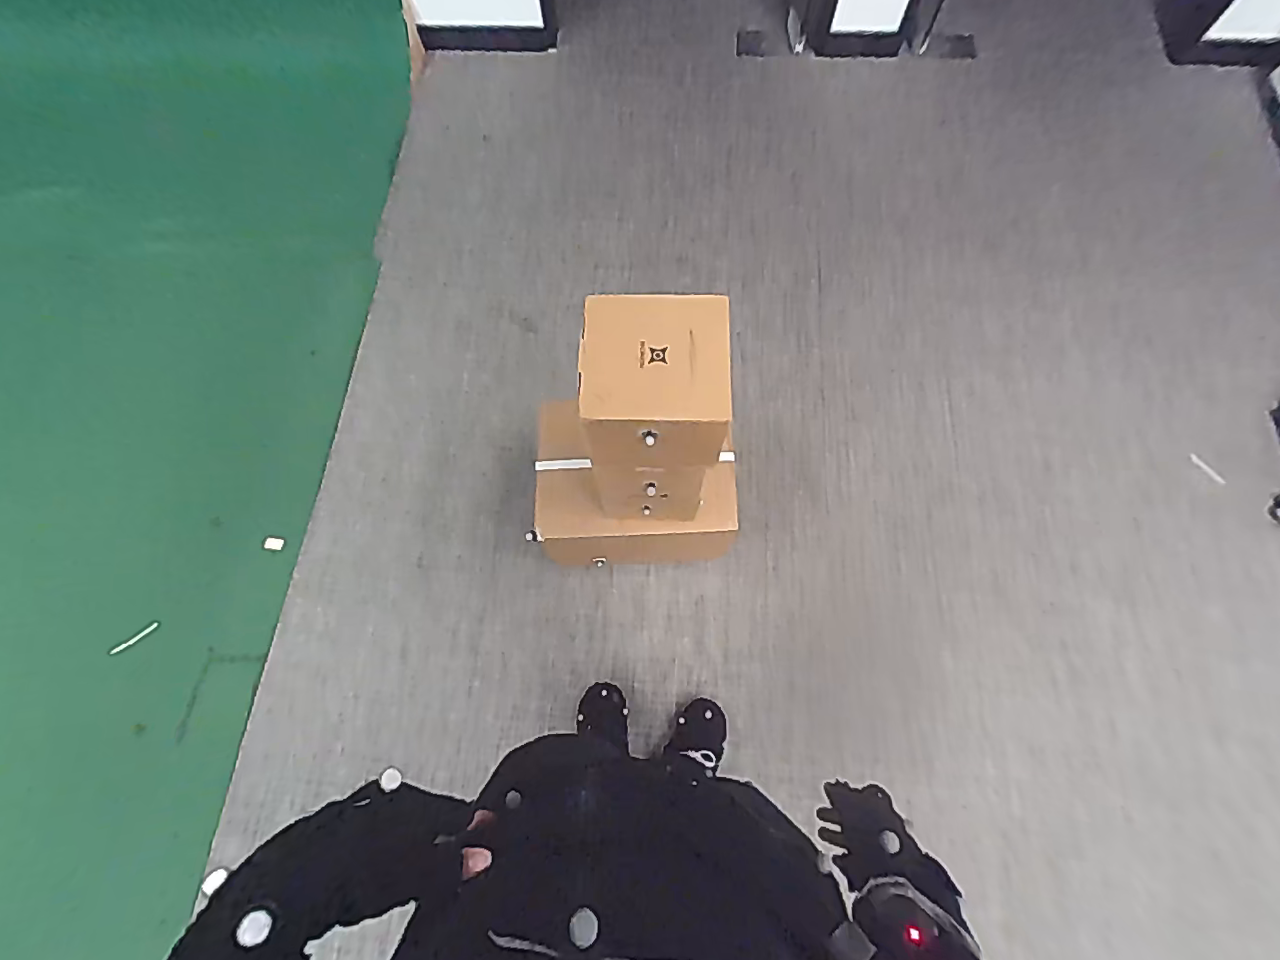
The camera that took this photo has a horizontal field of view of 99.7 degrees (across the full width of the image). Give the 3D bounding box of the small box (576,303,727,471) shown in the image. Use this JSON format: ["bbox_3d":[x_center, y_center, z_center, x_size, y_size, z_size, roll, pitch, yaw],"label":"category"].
[{"bbox_3d":[0.018,-0.115,0.717,0.179,0.176,0.168,1,73,1],"label":"small box"}]

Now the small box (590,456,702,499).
[{"bbox_3d":[0.014,-0.070,0.874,0.168,0.176,0.179,0,72,2],"label":"small box"}]

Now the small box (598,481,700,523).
[{"bbox_3d":[0.021,-0.018,1.028,0.179,0.176,0.168,2,71,3],"label":"small box"}]
